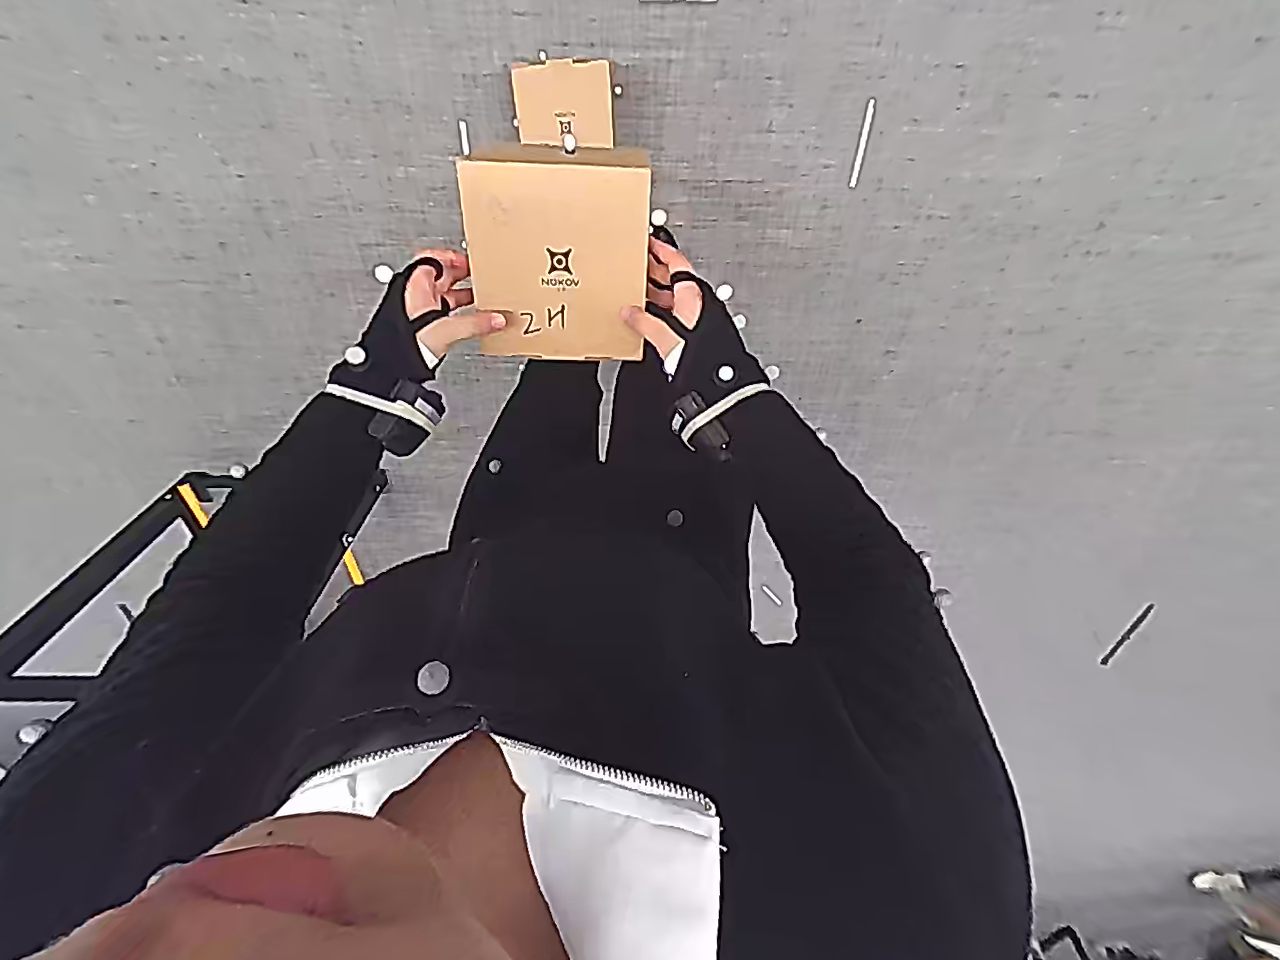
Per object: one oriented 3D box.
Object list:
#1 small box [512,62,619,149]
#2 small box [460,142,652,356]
[{"bbox_3d":[-0.127,-0.654,0.995,0.168,0.176,0.179,-2,128,2],"label":"small box"},{"bbox_3d":[-0.076,-0.247,0.570,0.168,0.176,0.179,2,127,-1],"label":"small box"}]
